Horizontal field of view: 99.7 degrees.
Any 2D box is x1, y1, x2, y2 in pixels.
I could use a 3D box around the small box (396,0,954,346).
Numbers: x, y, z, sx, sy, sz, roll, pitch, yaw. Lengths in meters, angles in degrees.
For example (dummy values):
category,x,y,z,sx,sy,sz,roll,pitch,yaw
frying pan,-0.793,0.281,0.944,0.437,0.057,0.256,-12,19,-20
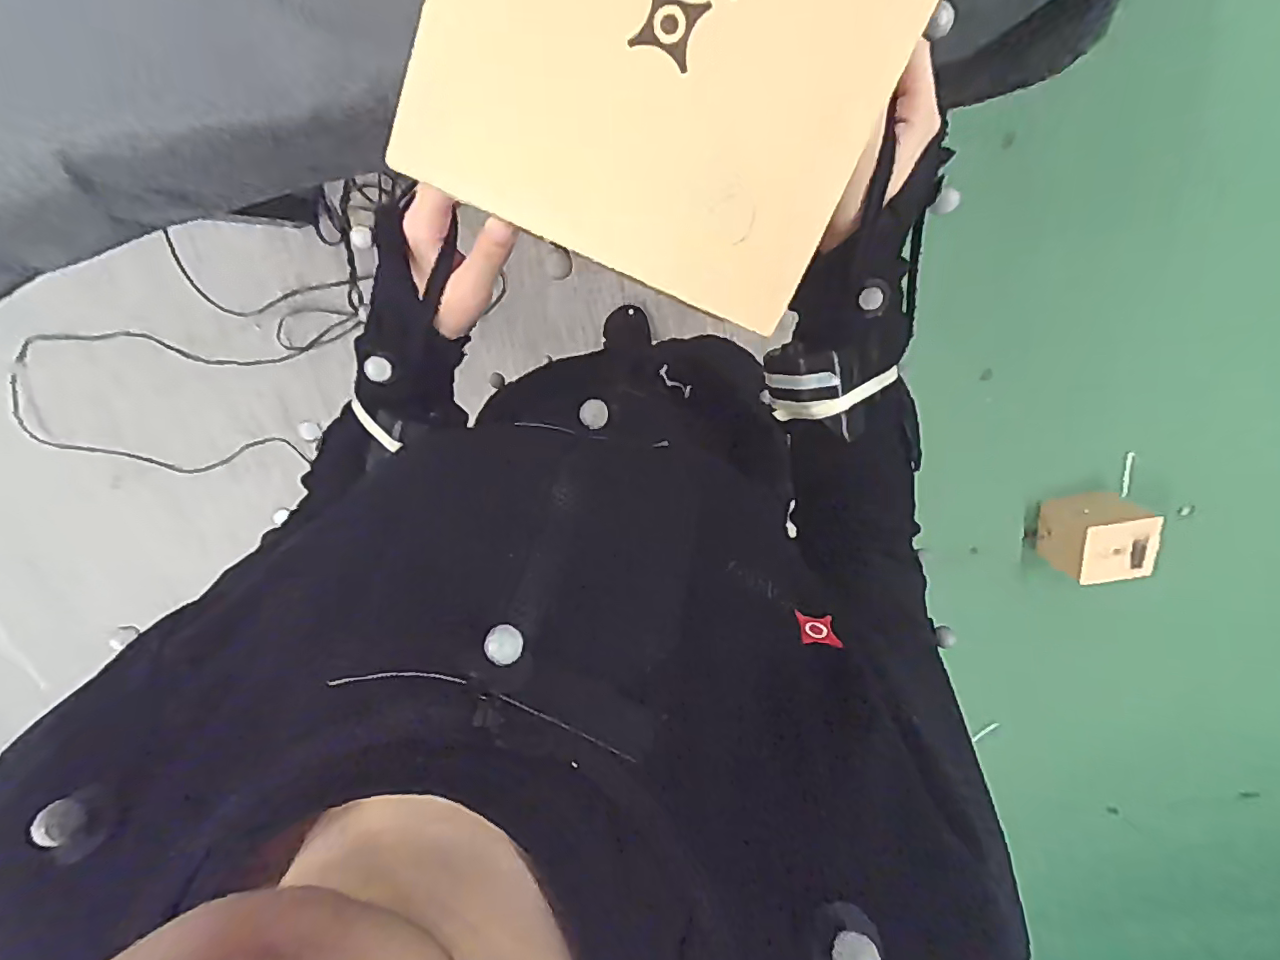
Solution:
category,x,y,z,sx,sy,sz,roll,pitch,yaw
small box,0.018,-0.183,0.261,0.168,0.176,0.179,23,106,-6
